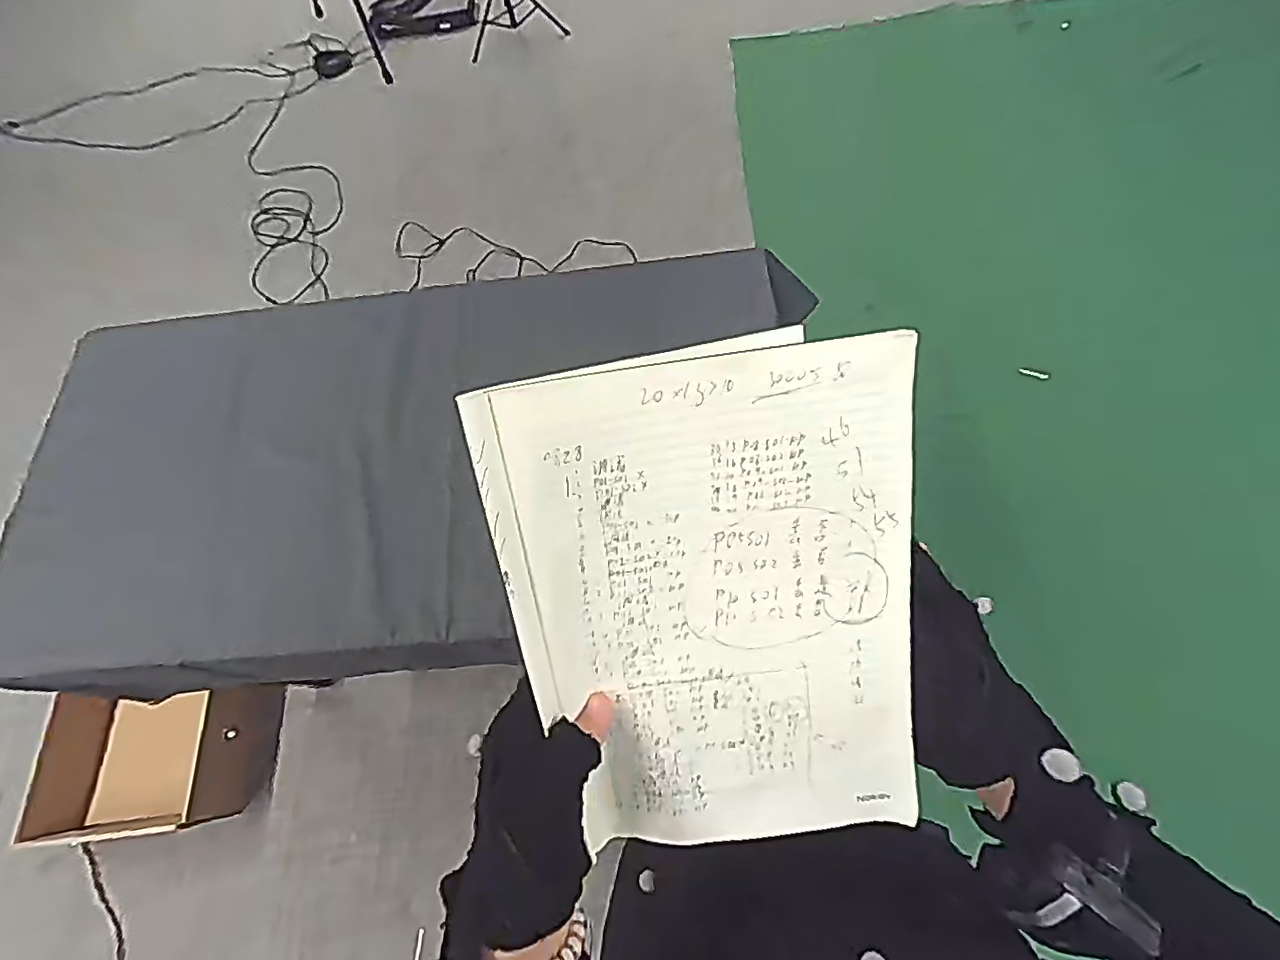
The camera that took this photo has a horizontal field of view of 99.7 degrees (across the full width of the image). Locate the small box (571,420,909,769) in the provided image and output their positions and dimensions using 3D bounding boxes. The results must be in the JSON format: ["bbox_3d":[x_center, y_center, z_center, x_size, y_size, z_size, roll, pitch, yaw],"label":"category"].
[{"bbox_3d":[0.058,0.079,0.404,0.168,0.176,0.179,-17,80,0],"label":"small box"}]
